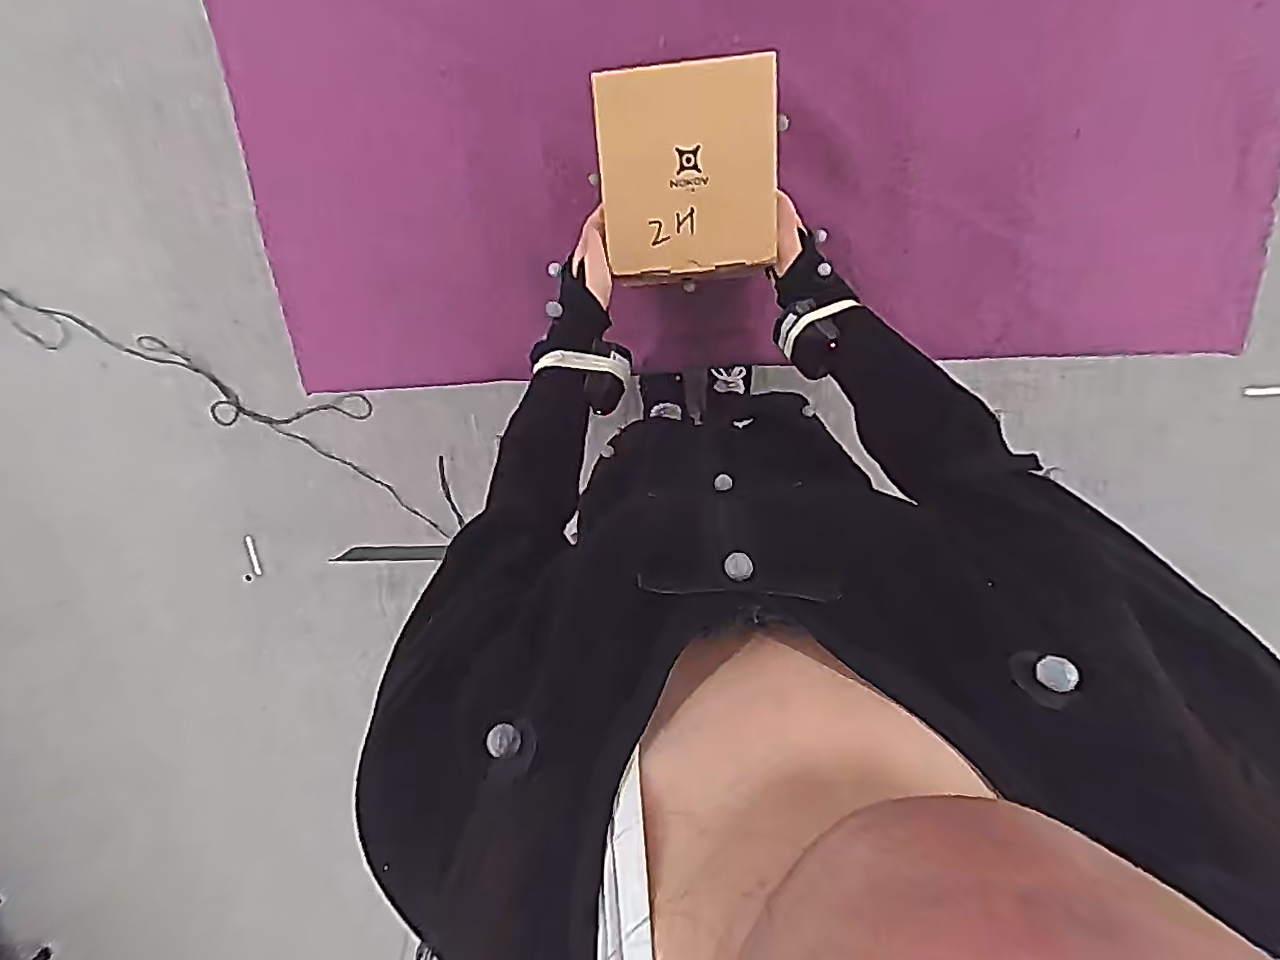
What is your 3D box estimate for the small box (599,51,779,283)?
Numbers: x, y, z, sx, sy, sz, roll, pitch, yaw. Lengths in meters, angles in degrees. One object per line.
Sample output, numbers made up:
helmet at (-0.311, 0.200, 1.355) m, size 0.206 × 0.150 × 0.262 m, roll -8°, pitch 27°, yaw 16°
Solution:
small box at (0.051, -0.315, 0.582) m, size 0.168 × 0.176 × 0.179 m, roll -3°, pitch 107°, yaw 5°
